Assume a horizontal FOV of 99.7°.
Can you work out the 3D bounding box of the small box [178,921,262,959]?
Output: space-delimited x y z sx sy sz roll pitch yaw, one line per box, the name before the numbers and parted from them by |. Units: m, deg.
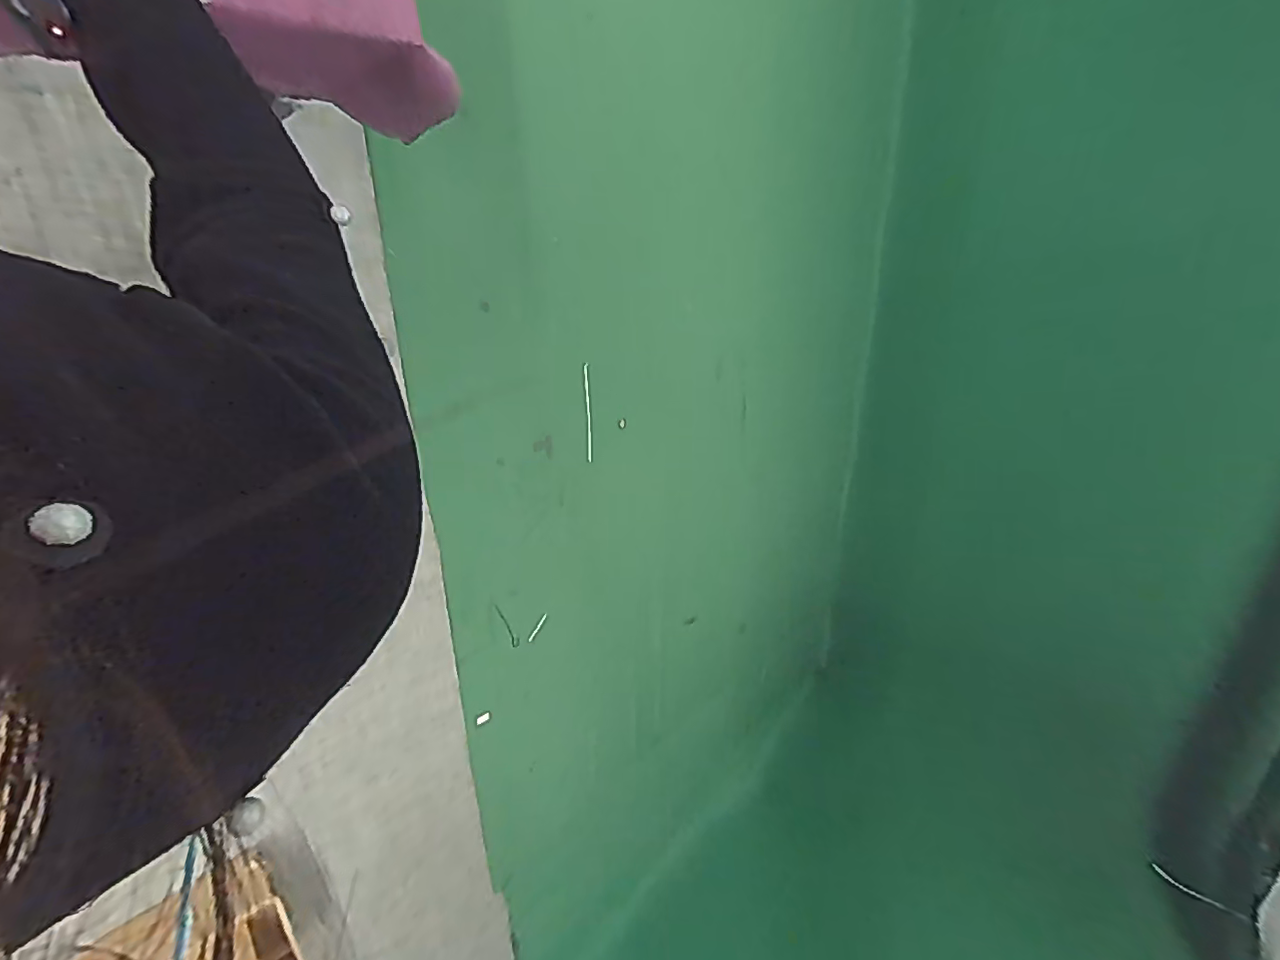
small box | -1.095 1.324 1.423 0.168 0.176 0.179 -16 115 -42
